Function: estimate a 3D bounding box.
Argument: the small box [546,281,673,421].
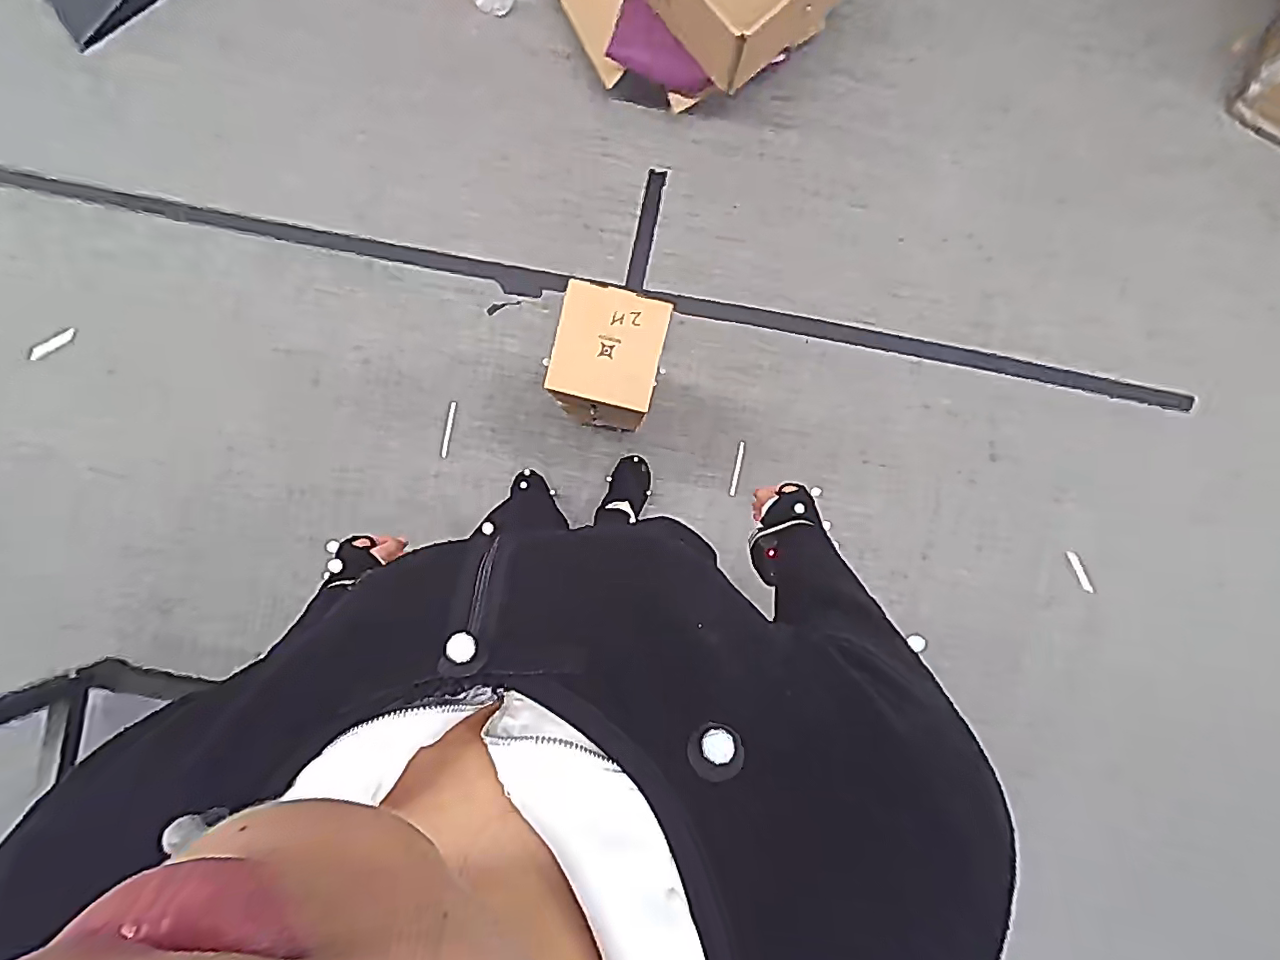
[{"bbox_3d":[-0.049,-0.205,0.913,0.168,0.176,0.179,14,90,-2],"label":"small box"}]

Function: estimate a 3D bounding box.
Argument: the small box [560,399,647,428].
[{"bbox_3d":[-0.057,-0.208,1.077,0.168,0.176,0.179,10,91,-2],"label":"small box"}]

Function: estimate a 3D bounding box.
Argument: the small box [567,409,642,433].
[{"bbox_3d":[-0.066,-0.212,1.242,0.168,0.176,0.179,9,90,-1],"label":"small box"}]
